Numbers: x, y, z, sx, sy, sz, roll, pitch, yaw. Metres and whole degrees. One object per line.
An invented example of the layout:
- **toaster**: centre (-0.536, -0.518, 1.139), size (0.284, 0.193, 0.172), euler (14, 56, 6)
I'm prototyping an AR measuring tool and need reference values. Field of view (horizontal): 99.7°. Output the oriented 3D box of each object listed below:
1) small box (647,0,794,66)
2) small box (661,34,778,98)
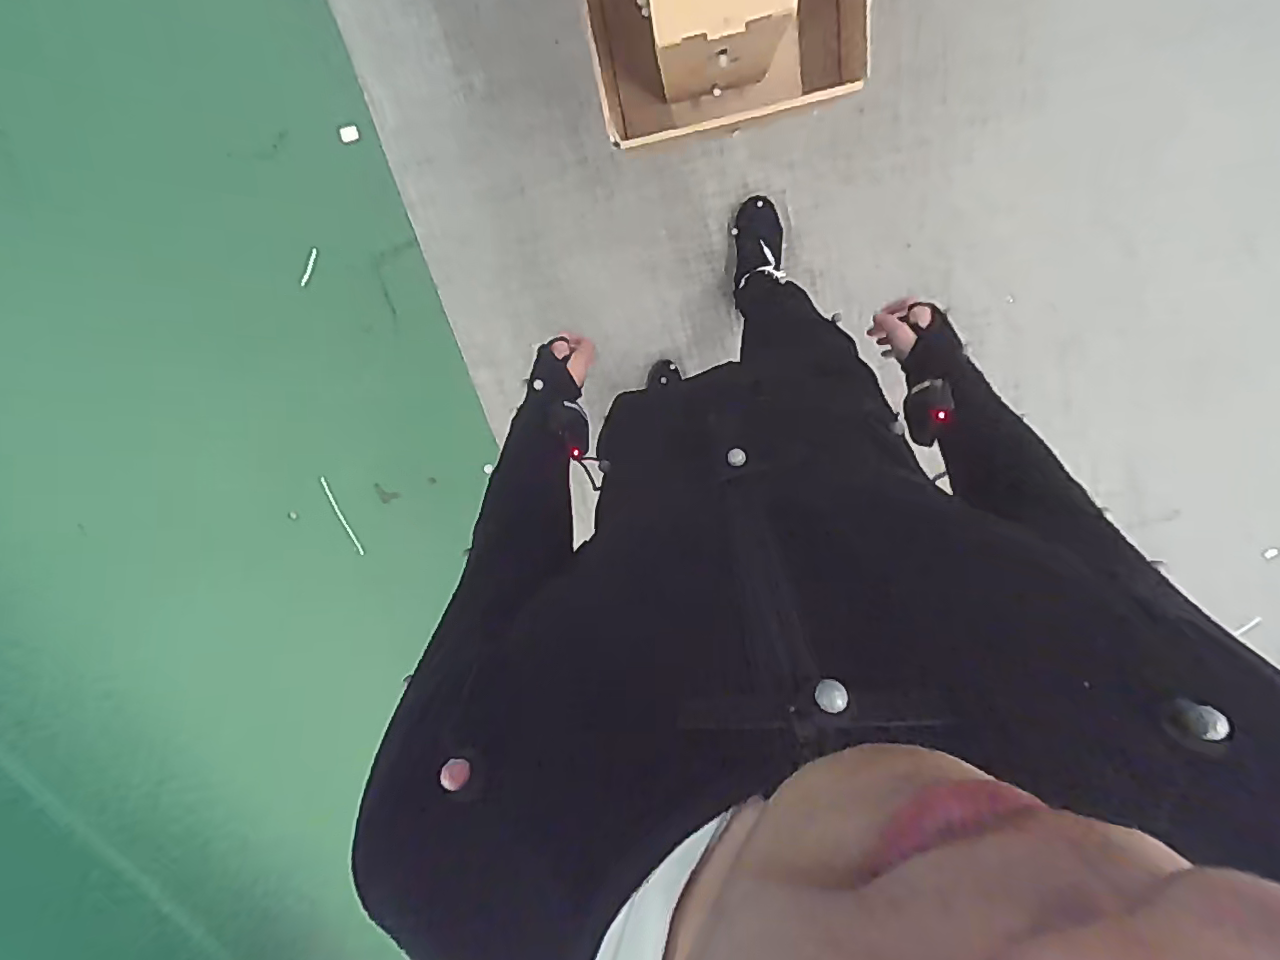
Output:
- **small box**: centre (0.088, -0.633, 0.655), size (0.168, 0.176, 0.179), euler (-8, 115, 10)
- **small box**: centre (0.105, -0.703, 0.801), size (0.168, 0.176, 0.179), euler (-7, 114, 11)
